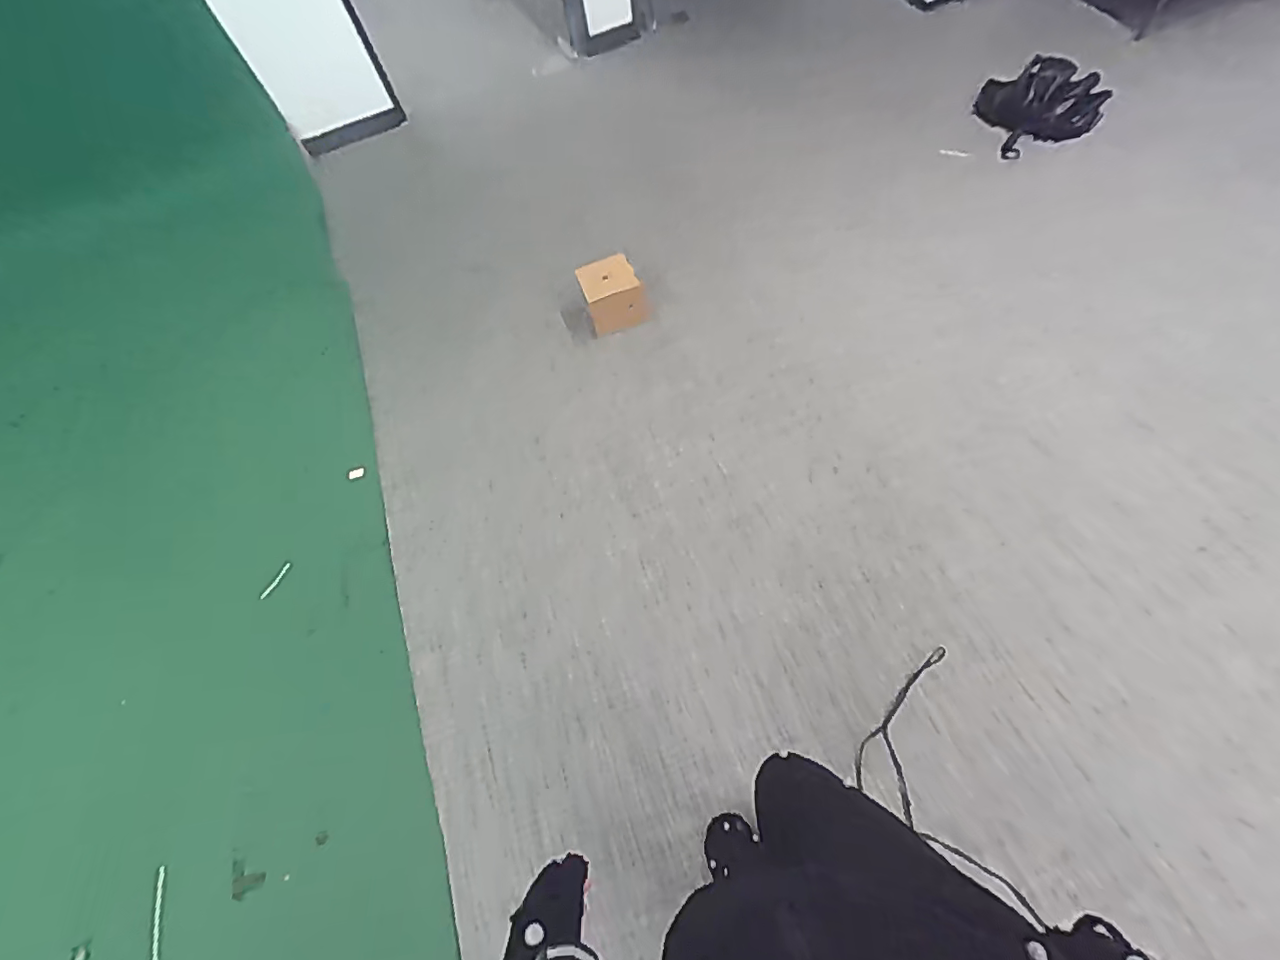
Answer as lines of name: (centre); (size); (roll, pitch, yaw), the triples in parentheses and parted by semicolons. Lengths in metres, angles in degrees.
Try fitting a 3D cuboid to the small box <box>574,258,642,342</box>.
small box: (-0.099, -0.596, 1.801); (0.179, 0.176, 0.168); (-22, 62, -2)
